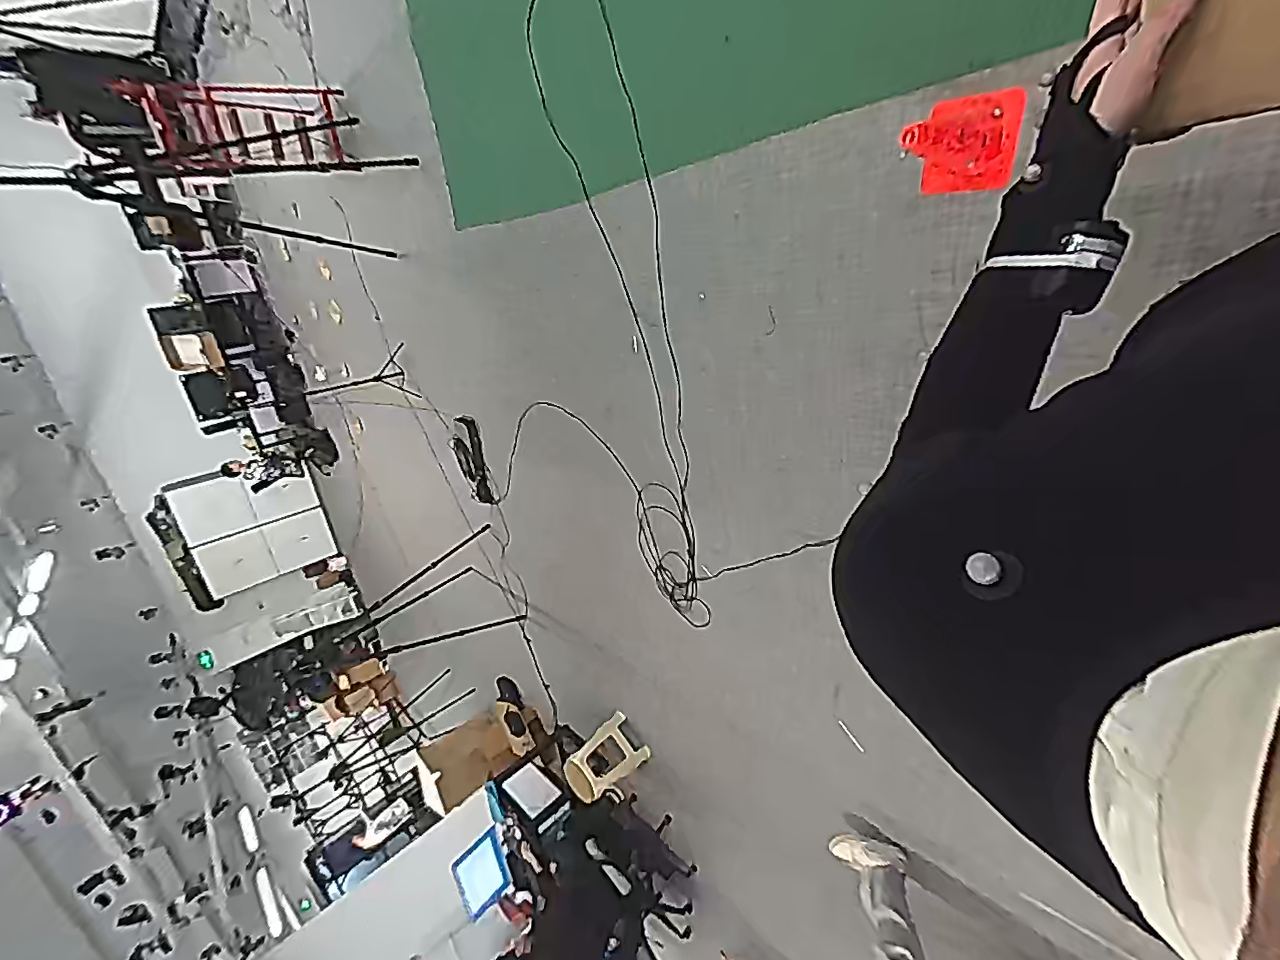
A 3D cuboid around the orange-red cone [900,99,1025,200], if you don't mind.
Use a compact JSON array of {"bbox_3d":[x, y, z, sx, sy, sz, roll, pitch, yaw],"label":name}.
[{"bbox_3d":[0.669,-0.737,1.200,0.199,0.360,0.198,24,125,42],"label":"orange-red cone"}]
